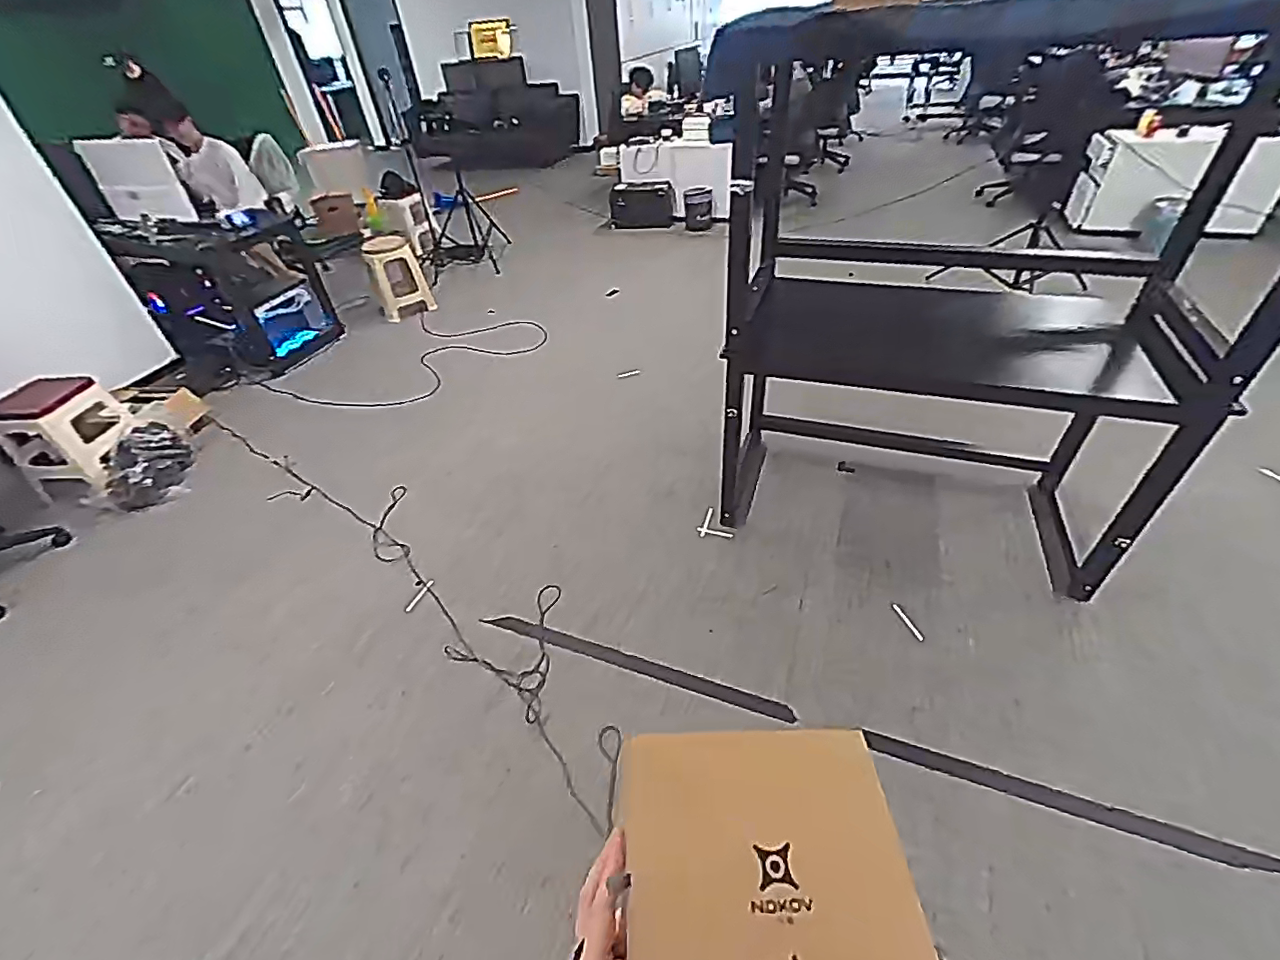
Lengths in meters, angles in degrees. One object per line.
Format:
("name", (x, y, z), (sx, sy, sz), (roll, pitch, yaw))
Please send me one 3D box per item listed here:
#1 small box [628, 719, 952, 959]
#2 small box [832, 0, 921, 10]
("small box", (0.078, 0.285, 0.368), (0.168, 0.176, 0.179), (1, 44, -4))
("small box", (0.475, -1.023, 1.045), (0.168, 0.176, 0.179), (11, 42, 16))
